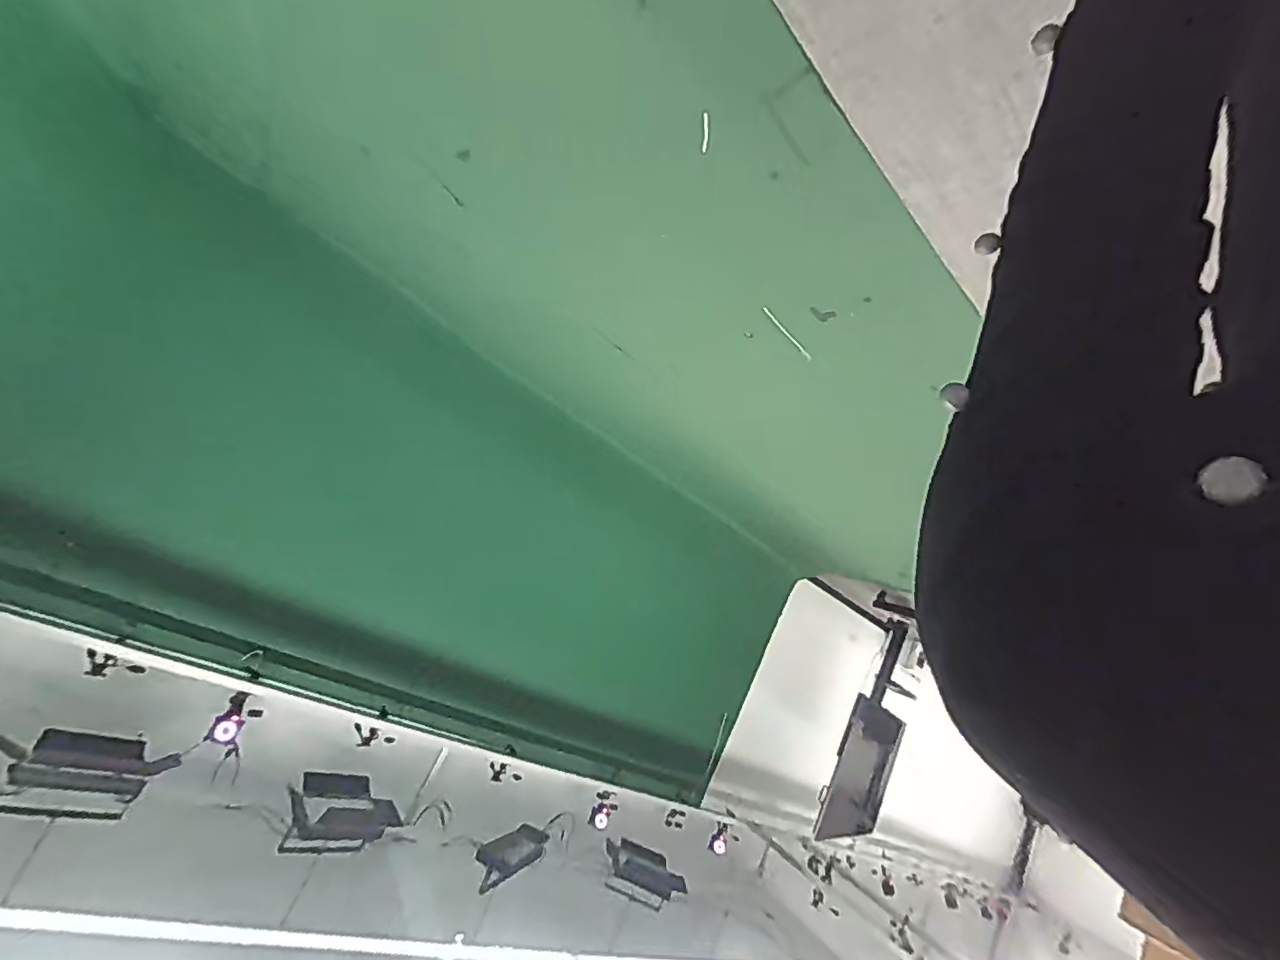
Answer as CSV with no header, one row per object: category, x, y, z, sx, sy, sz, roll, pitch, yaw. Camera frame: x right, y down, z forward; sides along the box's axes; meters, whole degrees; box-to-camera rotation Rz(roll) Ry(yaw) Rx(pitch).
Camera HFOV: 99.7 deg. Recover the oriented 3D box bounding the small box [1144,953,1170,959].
small box,1.553,1.492,1.535,0.168,0.176,0.179,35,164,-24
